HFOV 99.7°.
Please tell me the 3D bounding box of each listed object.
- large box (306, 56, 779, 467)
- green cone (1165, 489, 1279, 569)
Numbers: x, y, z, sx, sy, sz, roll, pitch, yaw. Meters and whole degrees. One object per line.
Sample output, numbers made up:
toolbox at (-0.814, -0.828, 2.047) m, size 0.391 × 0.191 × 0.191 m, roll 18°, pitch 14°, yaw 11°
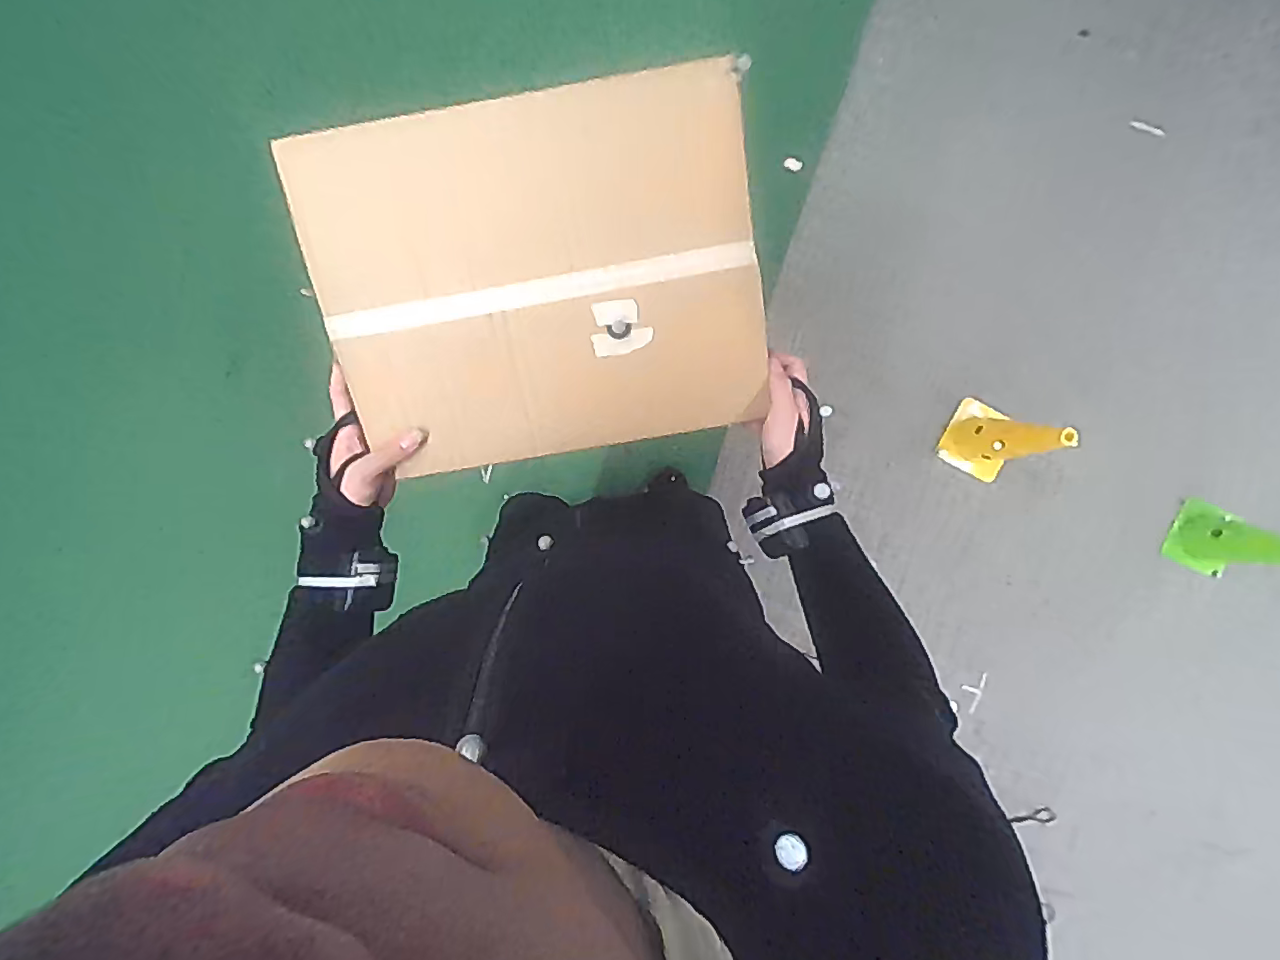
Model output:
large box at (-0.082, -0.230, 0.654) m, size 0.408 × 0.320 × 0.320 m, roll -9°, pitch 108°, yaw 1°
green cone at (1.708, 0.156, 1.458) m, size 0.202 × 0.368 × 0.200 m, roll 24°, pitch 93°, yaw 0°
